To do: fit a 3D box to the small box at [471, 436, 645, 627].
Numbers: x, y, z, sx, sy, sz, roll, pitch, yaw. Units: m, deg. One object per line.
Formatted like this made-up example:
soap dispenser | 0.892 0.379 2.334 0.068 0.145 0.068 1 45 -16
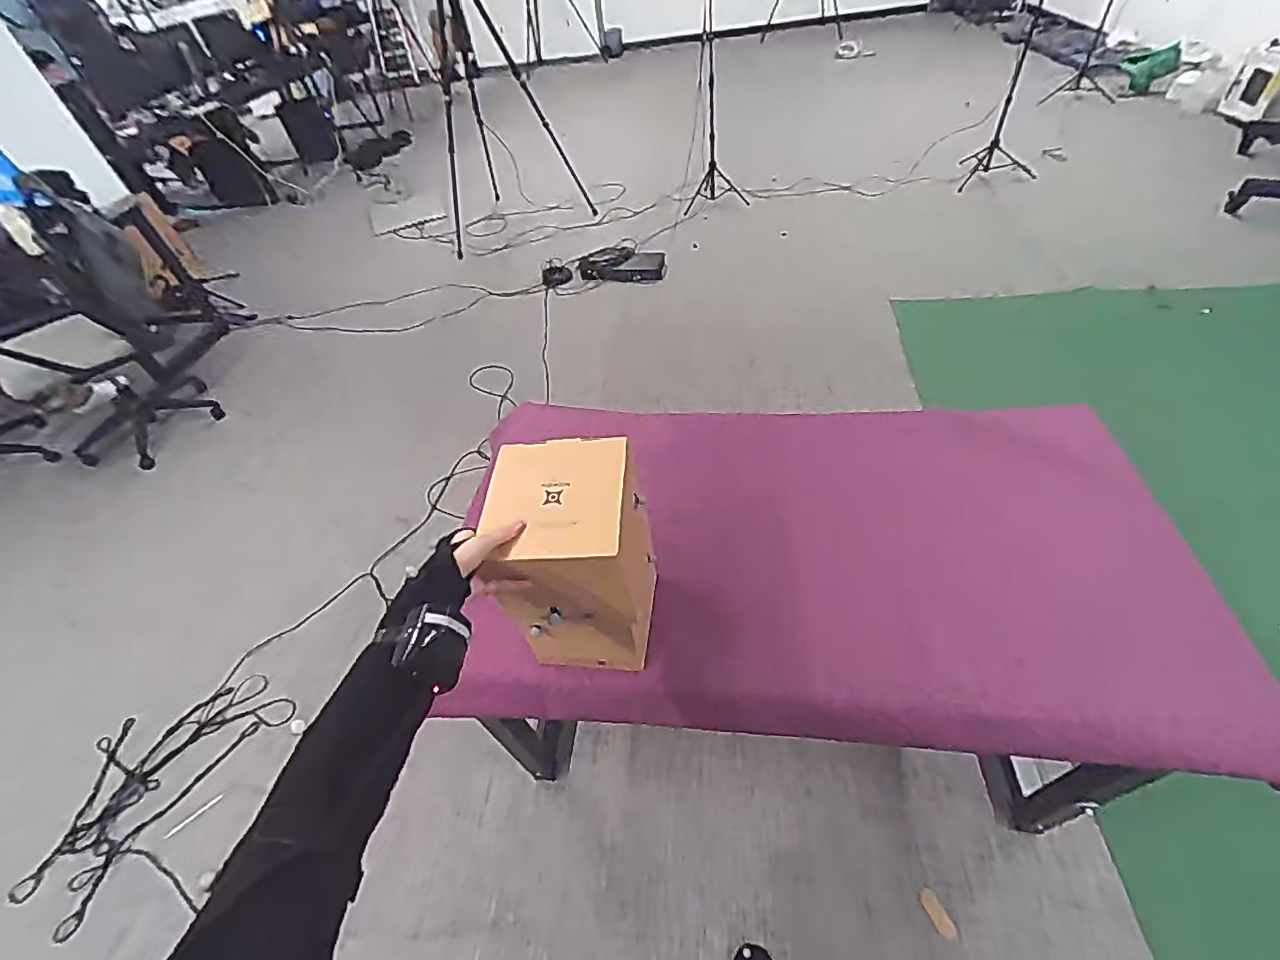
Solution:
small box | -0.087 0.067 0.679 0.168 0.176 0.179 -3 51 8
